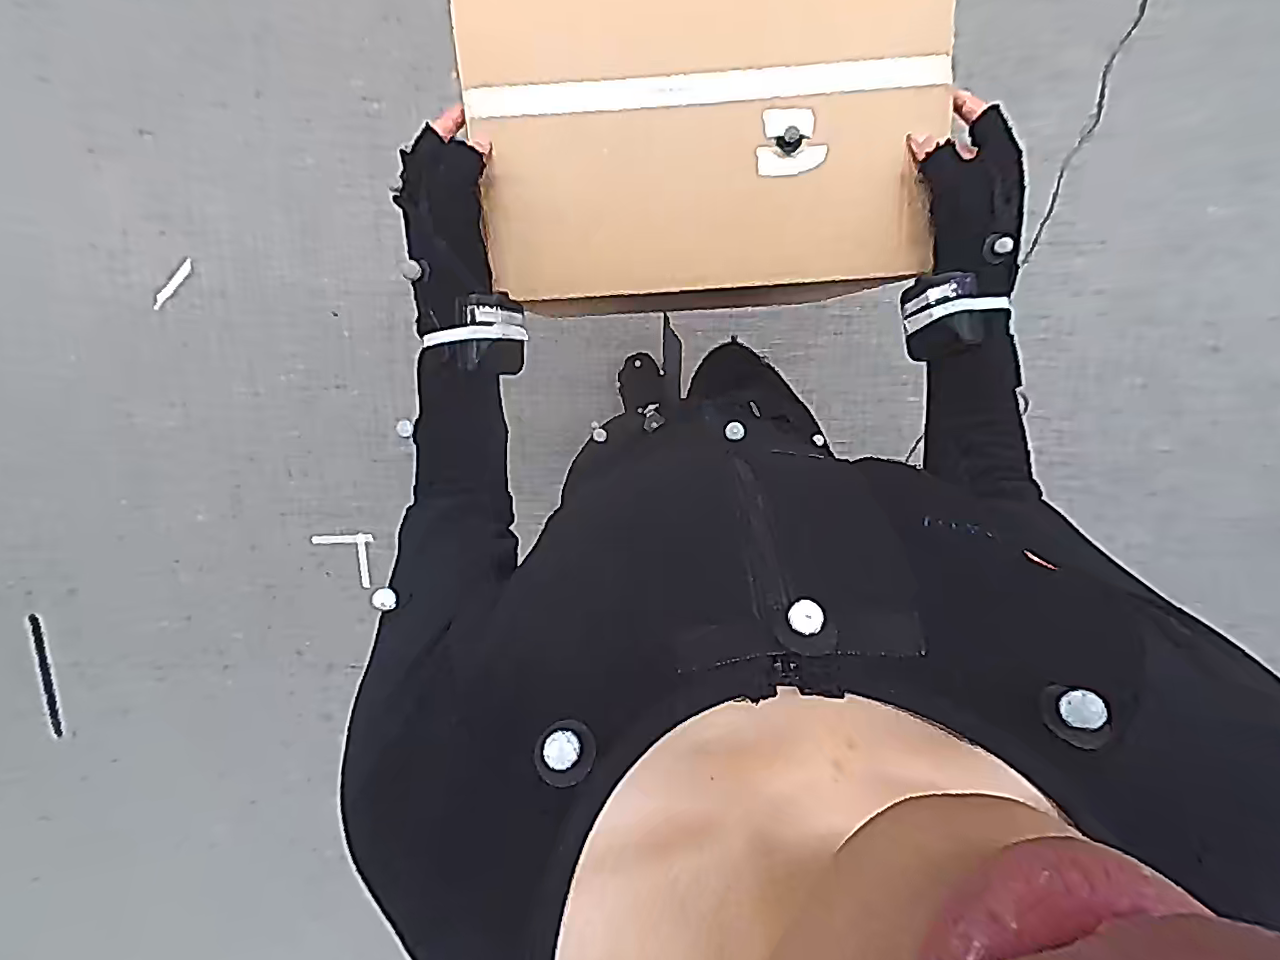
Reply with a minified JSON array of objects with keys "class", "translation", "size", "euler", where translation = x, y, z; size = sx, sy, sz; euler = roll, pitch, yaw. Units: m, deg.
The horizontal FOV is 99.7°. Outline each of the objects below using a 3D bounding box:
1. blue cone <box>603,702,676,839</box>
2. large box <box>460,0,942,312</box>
[{"class":"blue cone","translation":[-0.008,0.786,1.447],"size":[0.193,0.380,0.192],"euler":[21,100,-1]},{"class":"large box","translation":[0.050,-0.371,0.605],"size":[0.408,0.320,0.320],"euler":[-3,104,0]}]
